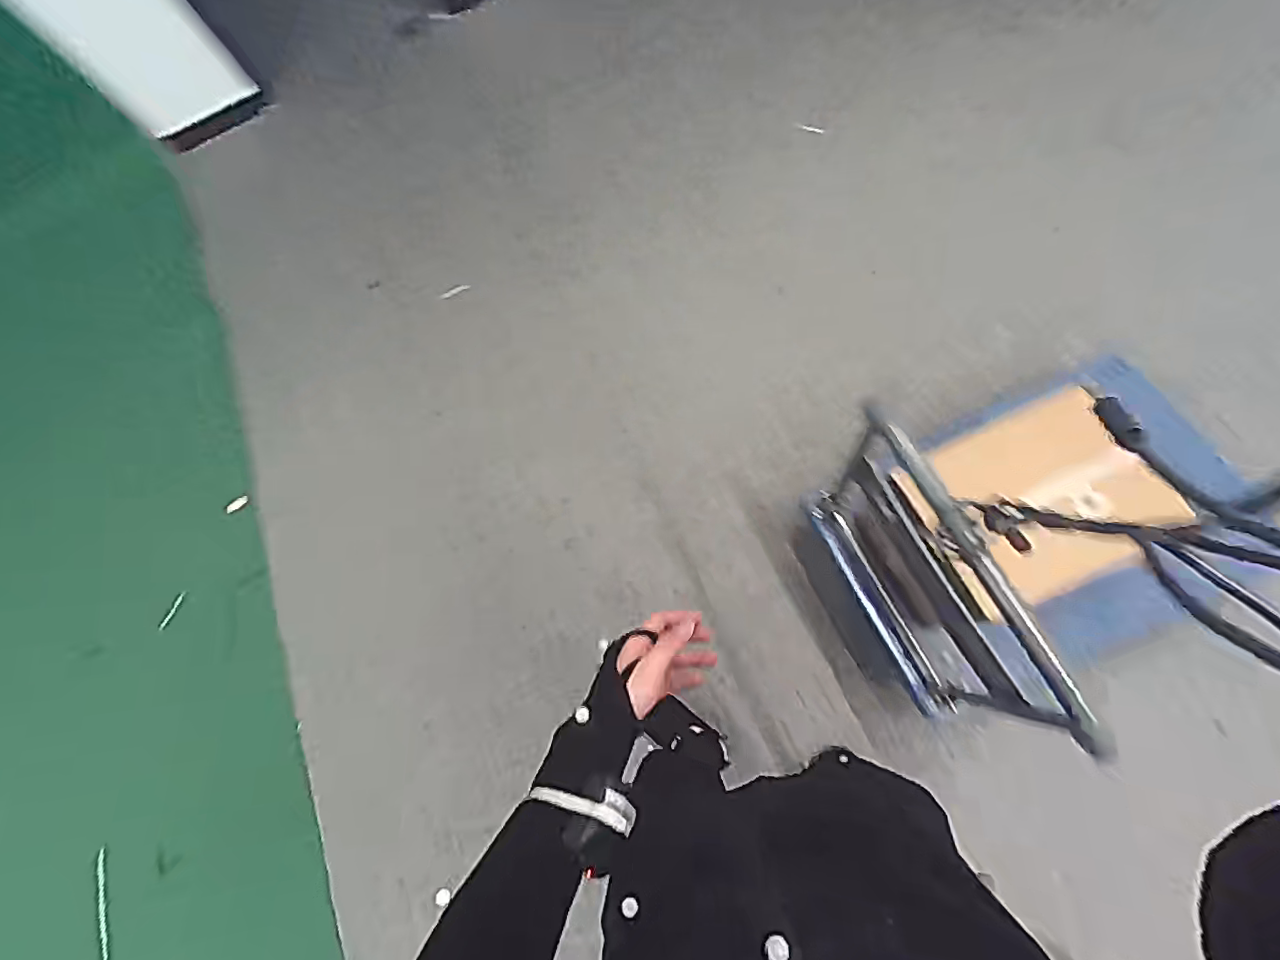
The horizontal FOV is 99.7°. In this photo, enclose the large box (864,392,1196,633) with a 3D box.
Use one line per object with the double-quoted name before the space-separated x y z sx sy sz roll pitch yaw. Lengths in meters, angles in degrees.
"large box" 0.758 0.088 1.134 0.408 0.320 0.320 -24 69 1
